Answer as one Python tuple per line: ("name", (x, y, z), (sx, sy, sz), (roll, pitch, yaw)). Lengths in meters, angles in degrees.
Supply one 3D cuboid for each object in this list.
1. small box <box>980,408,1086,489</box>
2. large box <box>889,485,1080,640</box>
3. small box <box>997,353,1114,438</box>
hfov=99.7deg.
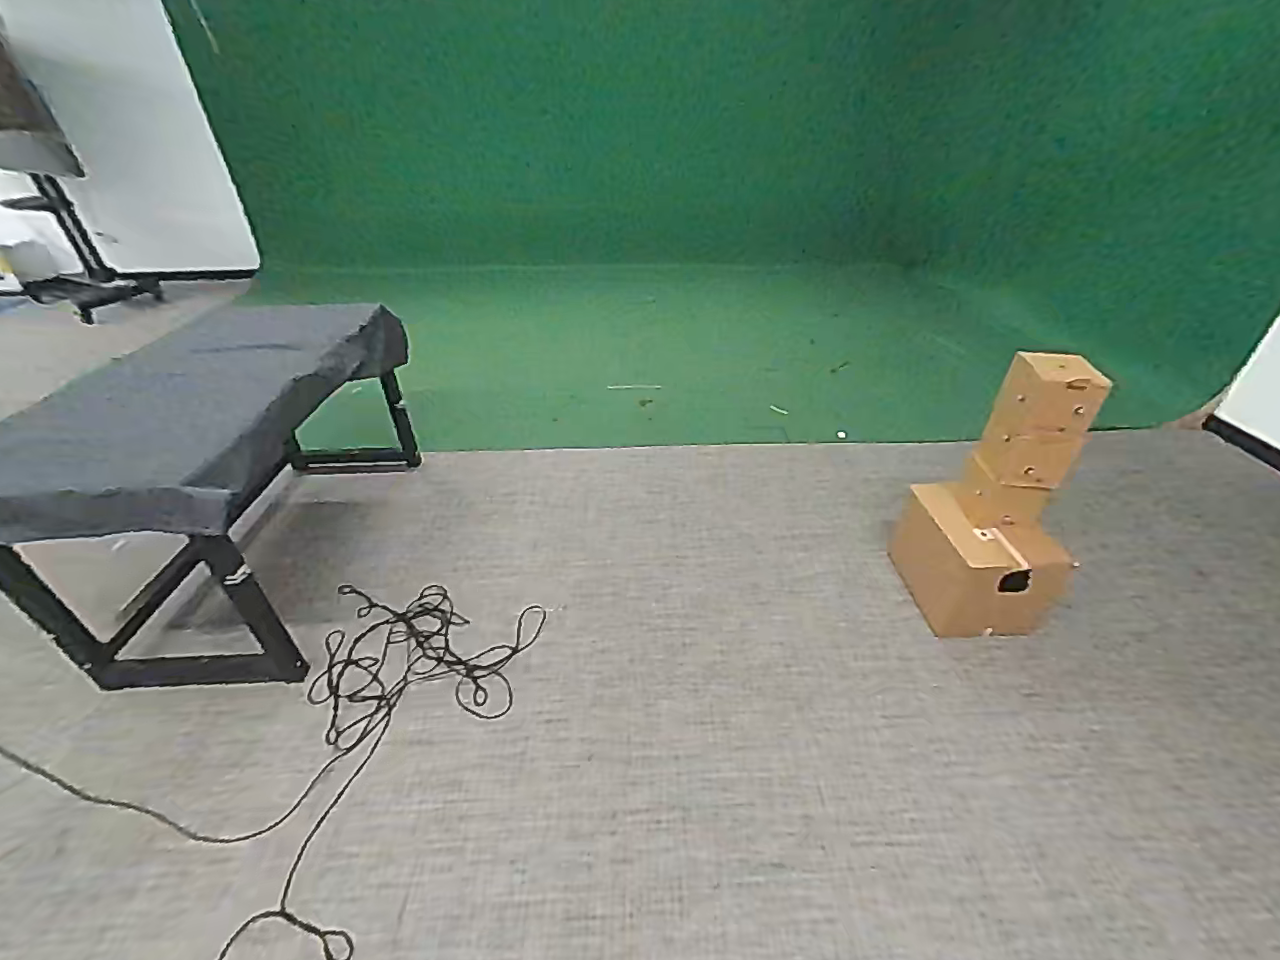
("small box", (1.121, -0.096, 1.562), (0.168, 0.176, 0.179), (4, 37, 6))
("large box", (1.082, 0.259, 1.766), (0.320, 0.320, 0.408), (-3, 37, -1))
("small box", (1.114, -0.228, 1.467), (0.168, 0.176, 0.179), (6, 37, 6))
